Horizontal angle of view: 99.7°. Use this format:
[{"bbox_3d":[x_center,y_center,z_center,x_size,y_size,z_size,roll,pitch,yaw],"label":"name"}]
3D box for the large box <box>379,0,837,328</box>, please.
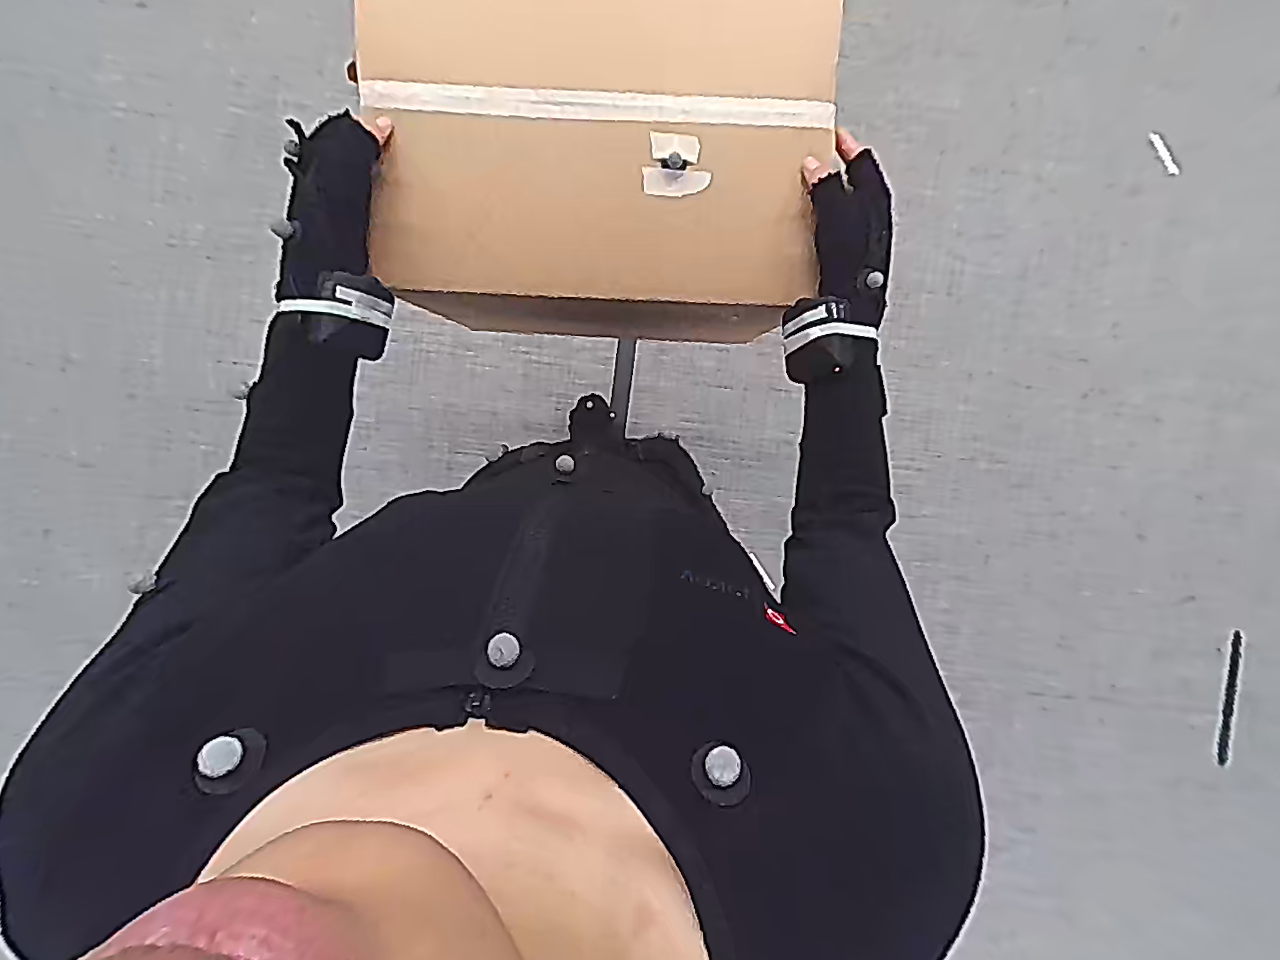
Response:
[{"bbox_3d":[-0.034,-0.357,0.627,0.408,0.320,0.320,2,100,-2],"label":"large box"}]
